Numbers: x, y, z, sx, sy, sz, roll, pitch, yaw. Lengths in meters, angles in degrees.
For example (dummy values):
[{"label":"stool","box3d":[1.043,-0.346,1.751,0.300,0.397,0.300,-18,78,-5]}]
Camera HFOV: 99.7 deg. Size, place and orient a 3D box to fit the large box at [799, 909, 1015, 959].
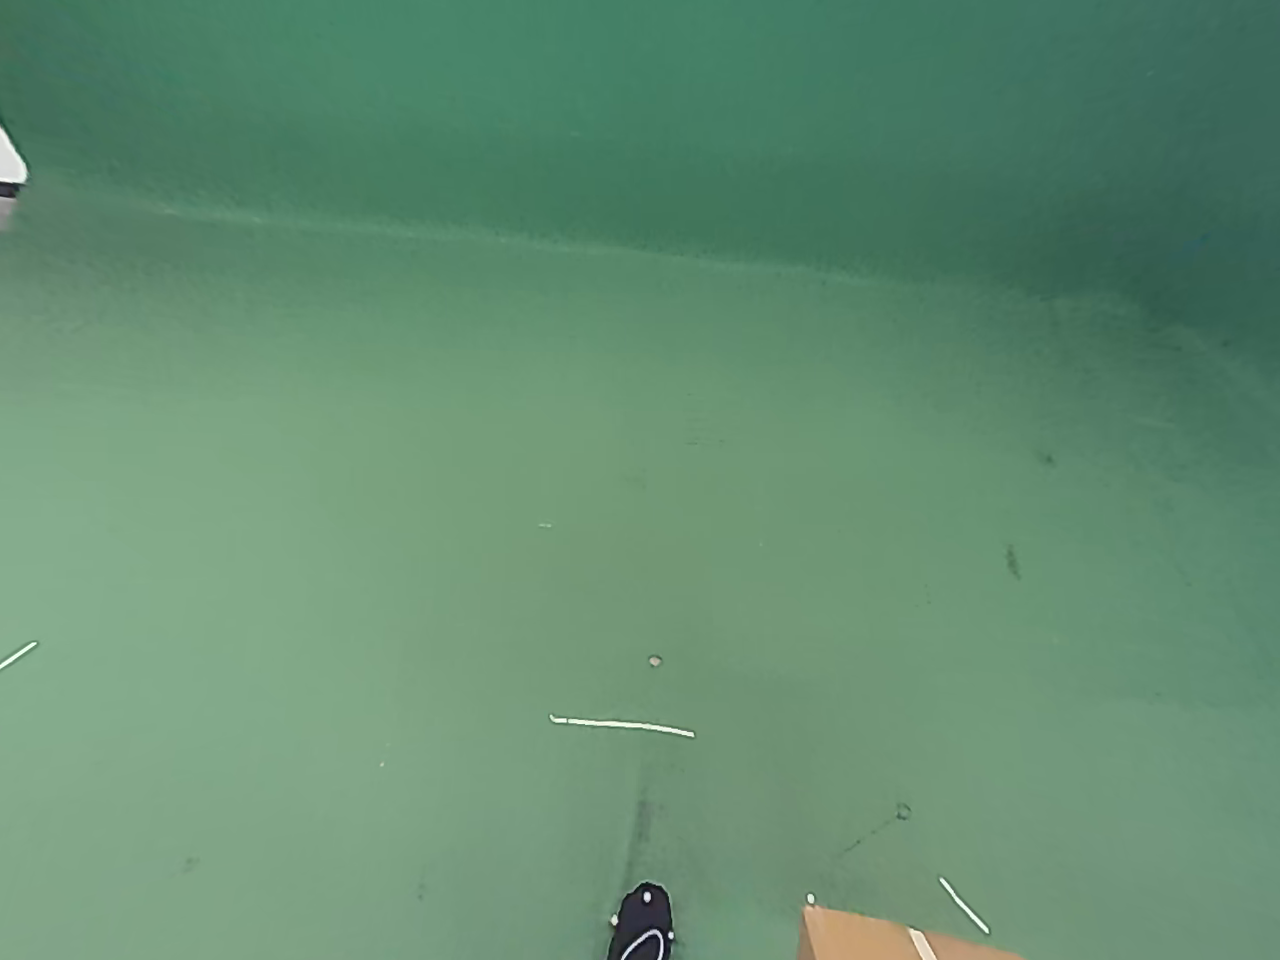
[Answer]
[{"label":"large box","box3d":[0.352,0.803,0.593,0.320,0.408,0.320,10,87,8]}]
